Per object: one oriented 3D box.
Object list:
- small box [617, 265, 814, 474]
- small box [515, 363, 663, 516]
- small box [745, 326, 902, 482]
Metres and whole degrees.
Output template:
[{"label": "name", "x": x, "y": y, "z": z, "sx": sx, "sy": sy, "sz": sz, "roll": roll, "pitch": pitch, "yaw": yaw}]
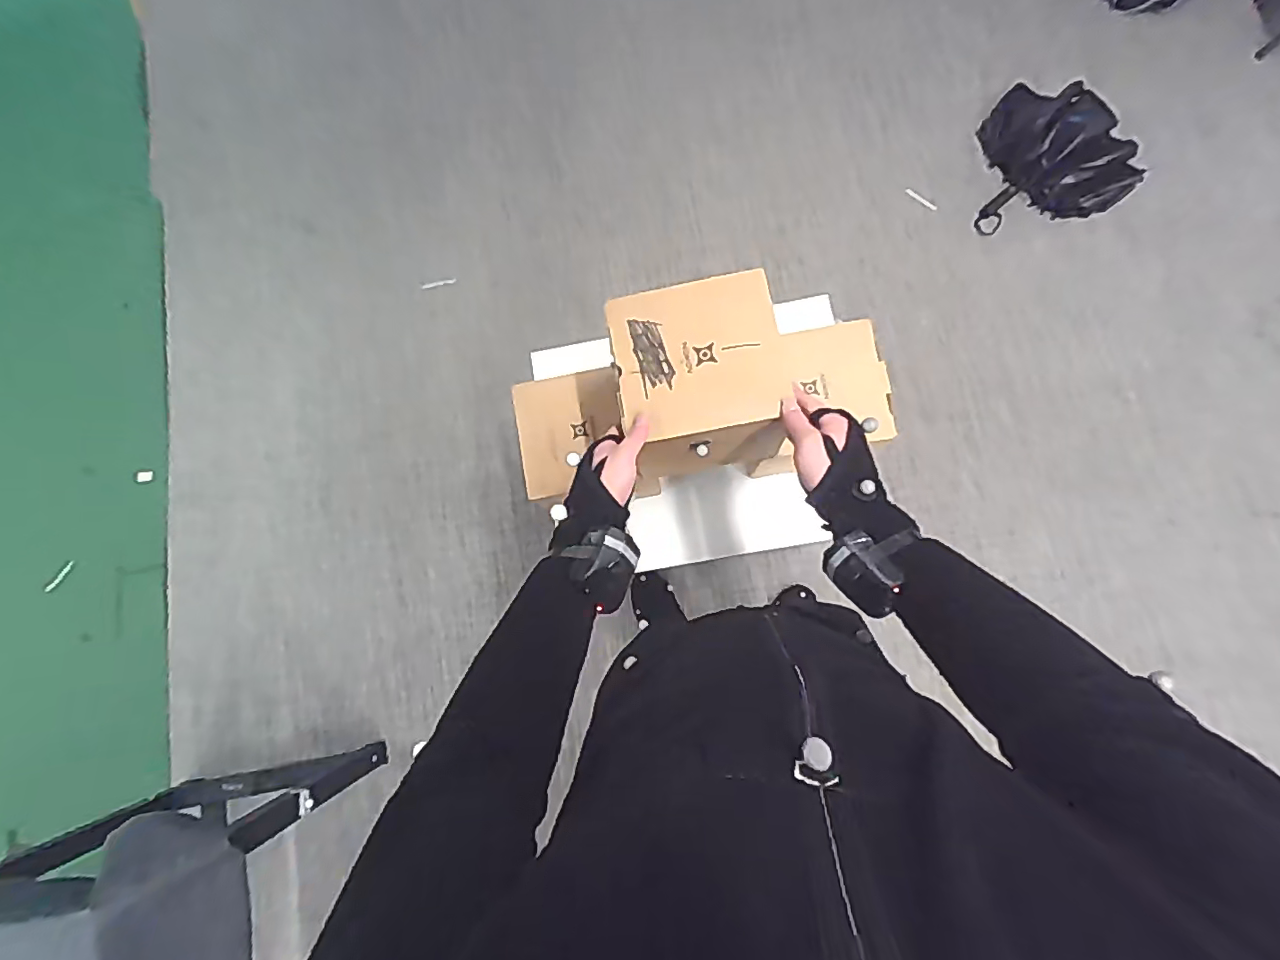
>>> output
[{"label": "small box", "x": 0.079, "y": -0.113, "z": 0.621, "sx": 0.179, "sy": 0.176, "sz": 0.168, "roll": -10, "pitch": 77, "yaw": 1}, {"label": "small box", "x": -0.066, "y": -0.050, "z": 0.784, "sx": 0.179, "sy": 0.176, "sz": 0.168, "roll": -11, "pitch": 77, "yaw": 0}, {"label": "small box", "x": 0.242, "y": -0.100, "z": 0.781, "sx": 0.179, "sy": 0.176, "sz": 0.168, "roll": -9, "pitch": 79, "yaw": 2}]
